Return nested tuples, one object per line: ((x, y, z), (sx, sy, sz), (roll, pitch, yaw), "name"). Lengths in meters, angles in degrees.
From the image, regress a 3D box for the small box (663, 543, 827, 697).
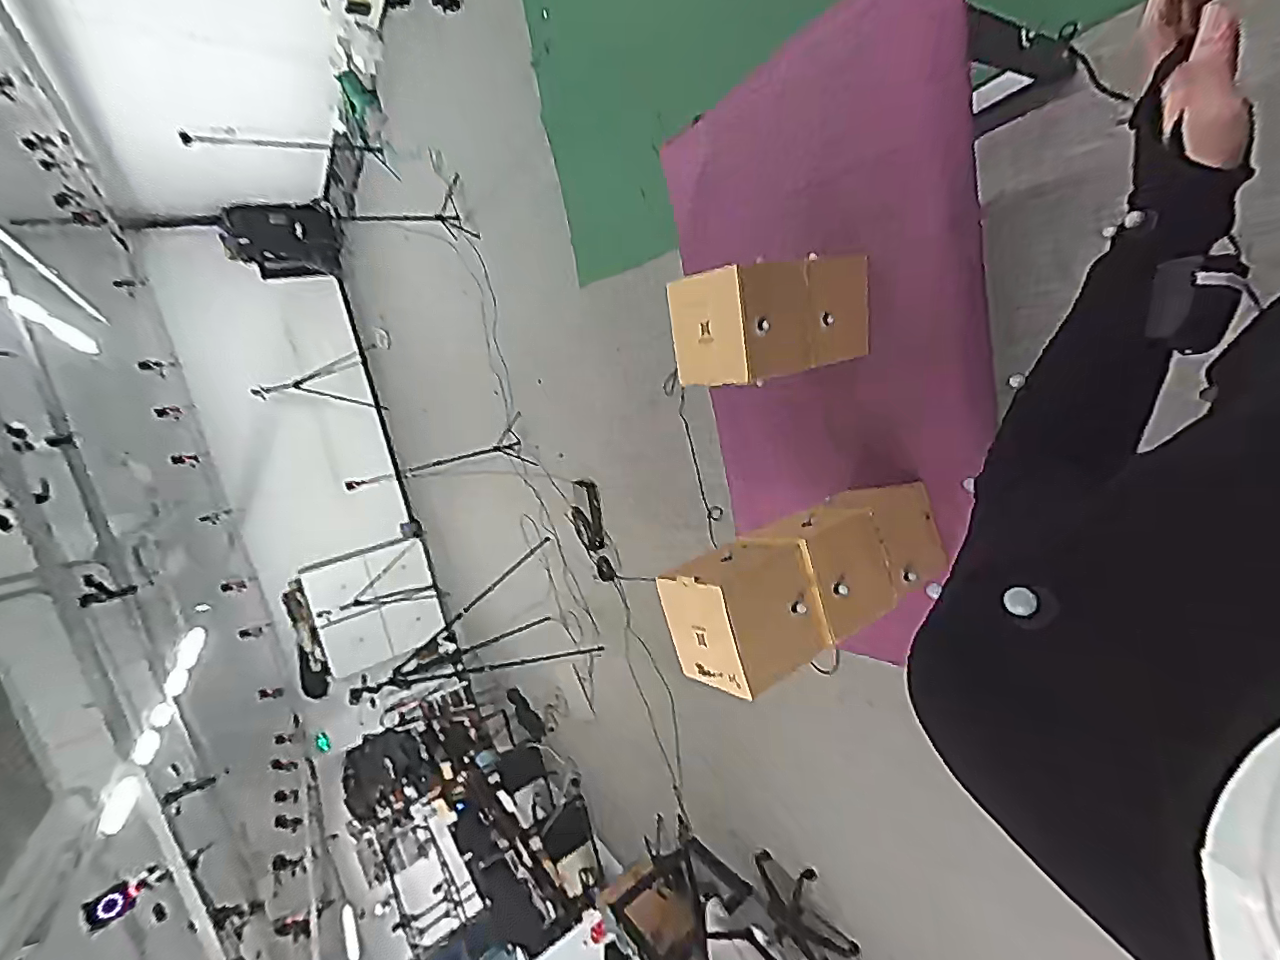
((0.168, 0.207, 0.862), (0.168, 0.176, 0.179), (-8, 99, 59), "small box")

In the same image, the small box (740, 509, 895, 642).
((0.306, 0.152, 0.933), (0.168, 0.176, 0.179), (-10, 98, 59), "small box")

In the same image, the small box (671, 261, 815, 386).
((0.178, -0.262, 0.915), (0.168, 0.176, 0.179), (12, 115, 53), "small box")

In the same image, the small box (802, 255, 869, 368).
((0.306, -0.308, 1.004), (0.168, 0.176, 0.179), (13, 116, 53), "small box")
